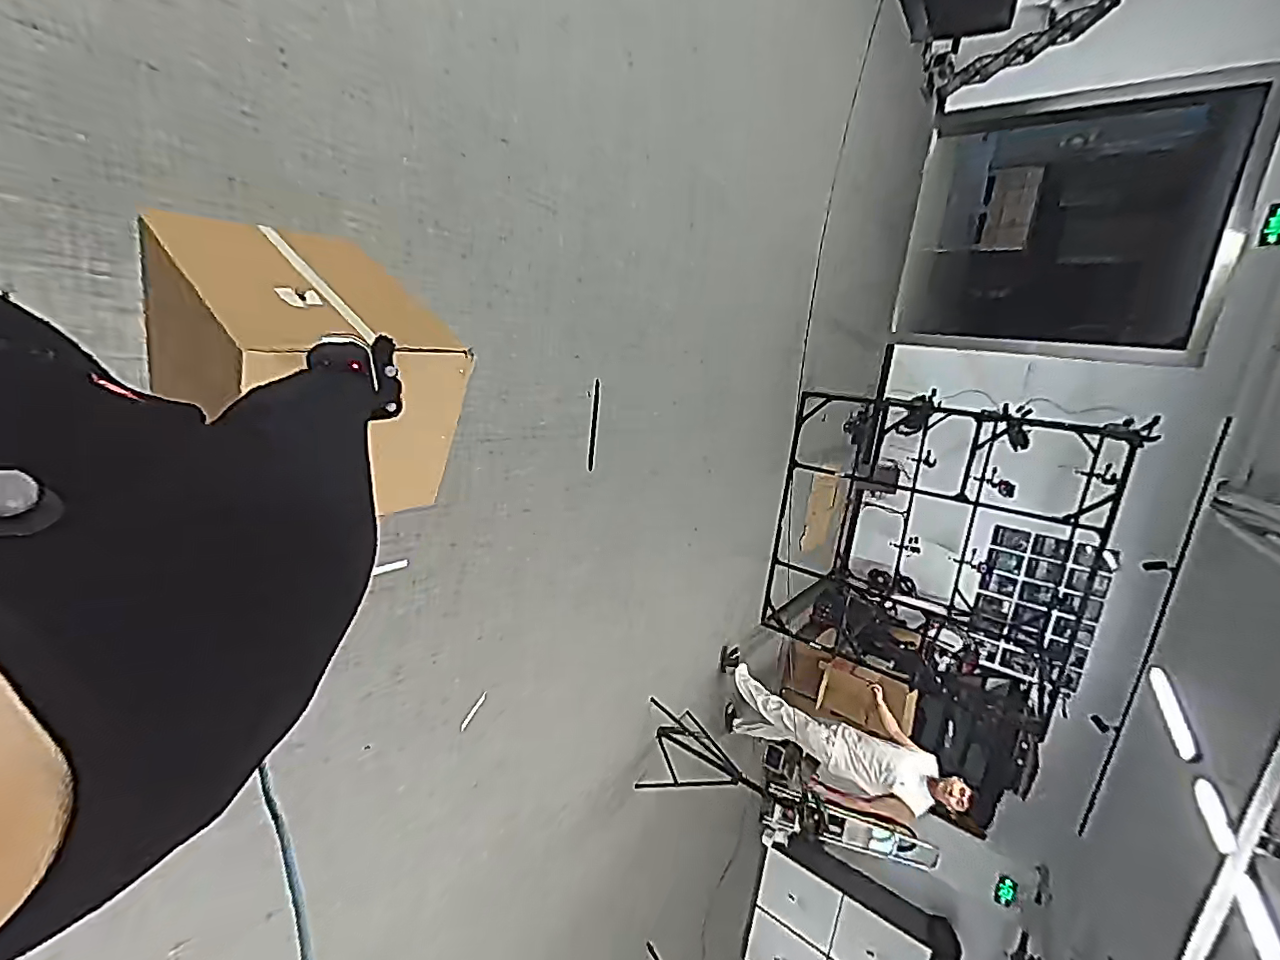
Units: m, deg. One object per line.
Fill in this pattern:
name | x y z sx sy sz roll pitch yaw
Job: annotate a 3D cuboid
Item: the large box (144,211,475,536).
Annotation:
large box | -0.552 -0.177 0.895 0.320 0.408 0.320 -17 143 -50
